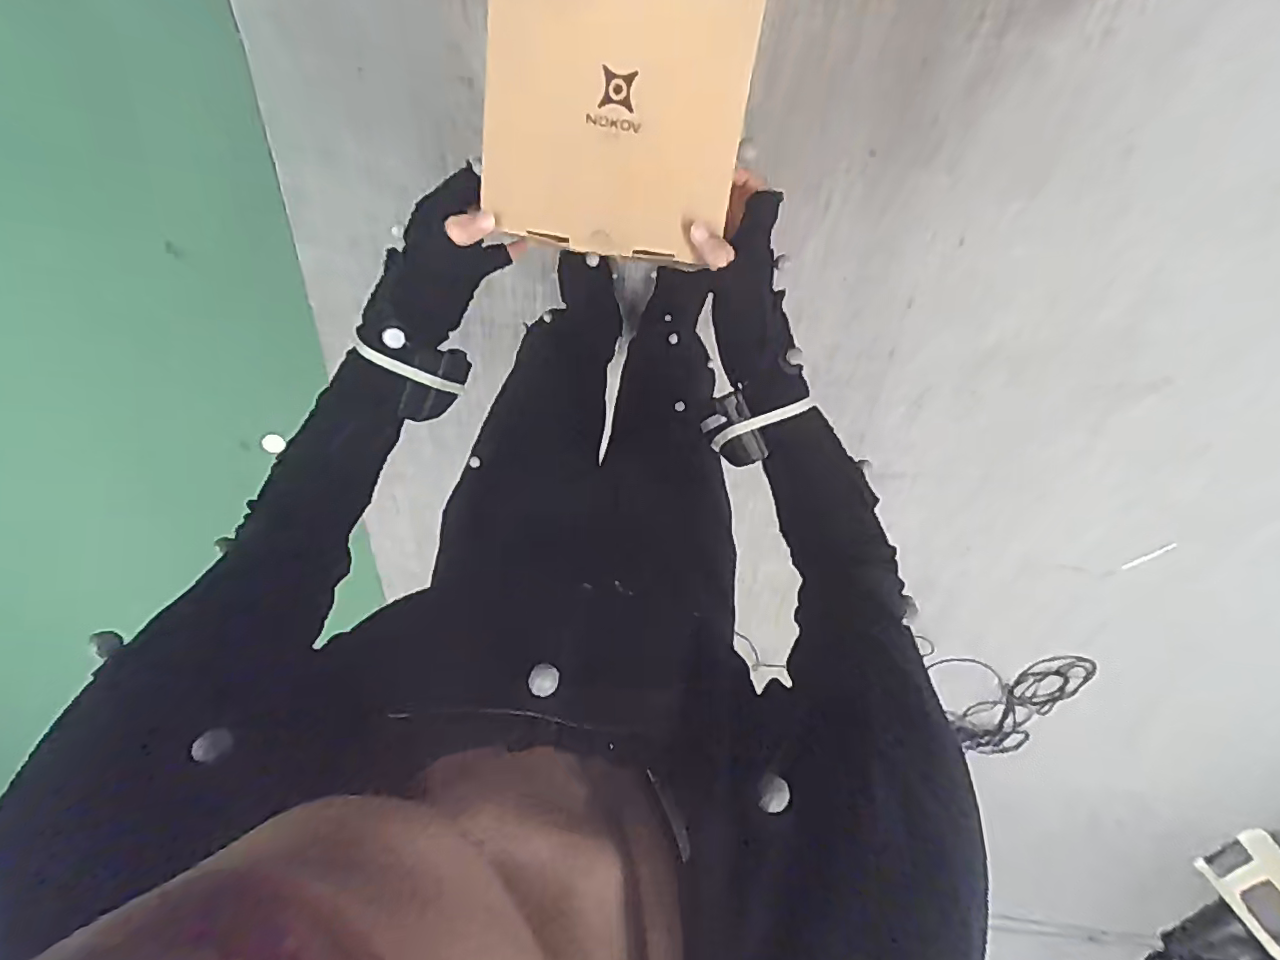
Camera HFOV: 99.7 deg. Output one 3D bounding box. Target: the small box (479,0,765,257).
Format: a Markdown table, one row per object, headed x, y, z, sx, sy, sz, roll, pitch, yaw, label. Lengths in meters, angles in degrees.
| x | y | z | sx | sy | sz | roll | pitch | yaw | label |
| --- | --- | --- | --- | --- | --- | --- | --- | --- | --- |
| -0.015 | -0.277 | 0.413 | 0.168 | 0.176 | 0.179 | 8 | 111 | -3 | small box |
